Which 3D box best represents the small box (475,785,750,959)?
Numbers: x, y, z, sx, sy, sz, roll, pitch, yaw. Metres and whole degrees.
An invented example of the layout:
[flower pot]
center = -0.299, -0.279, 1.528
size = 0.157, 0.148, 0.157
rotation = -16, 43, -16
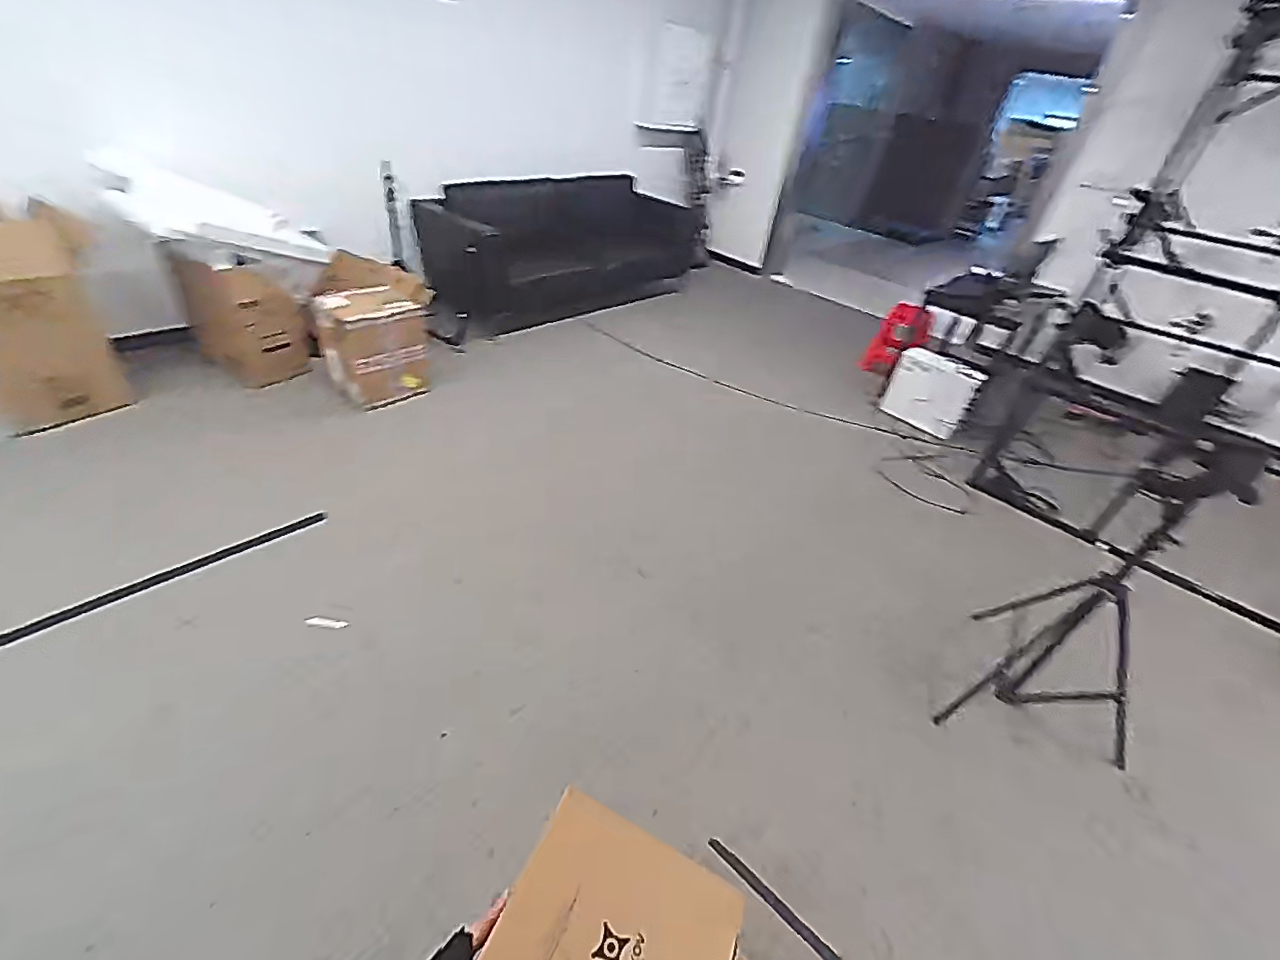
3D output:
[small box]
center = -0.037, 0.397, 0.438
size = 0.179, 0.176, 0.168
rotation = 25, 37, 9
